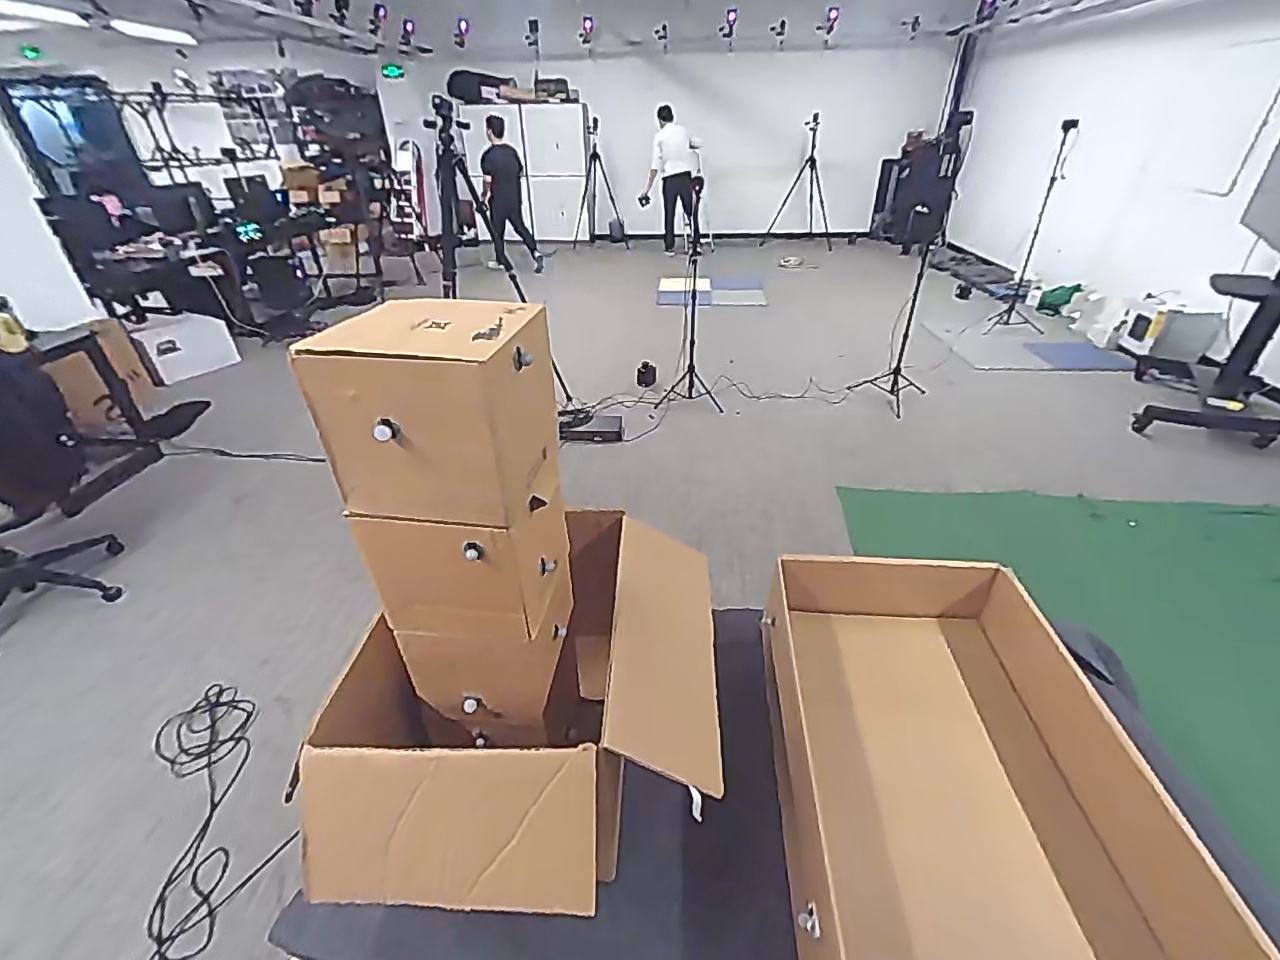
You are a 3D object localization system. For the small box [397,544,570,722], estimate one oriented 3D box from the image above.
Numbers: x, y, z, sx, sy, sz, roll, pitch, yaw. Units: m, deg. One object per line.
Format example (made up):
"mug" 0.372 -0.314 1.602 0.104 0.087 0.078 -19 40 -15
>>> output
"small box" -0.194 0.195 0.733 0.168 0.176 0.179 4 36 6

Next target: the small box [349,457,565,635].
"small box" -0.197 0.063 0.640 0.179 0.176 0.168 4 34 6

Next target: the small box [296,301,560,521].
"small box" -0.191 -0.074 0.548 0.179 0.176 0.168 4 34 7
